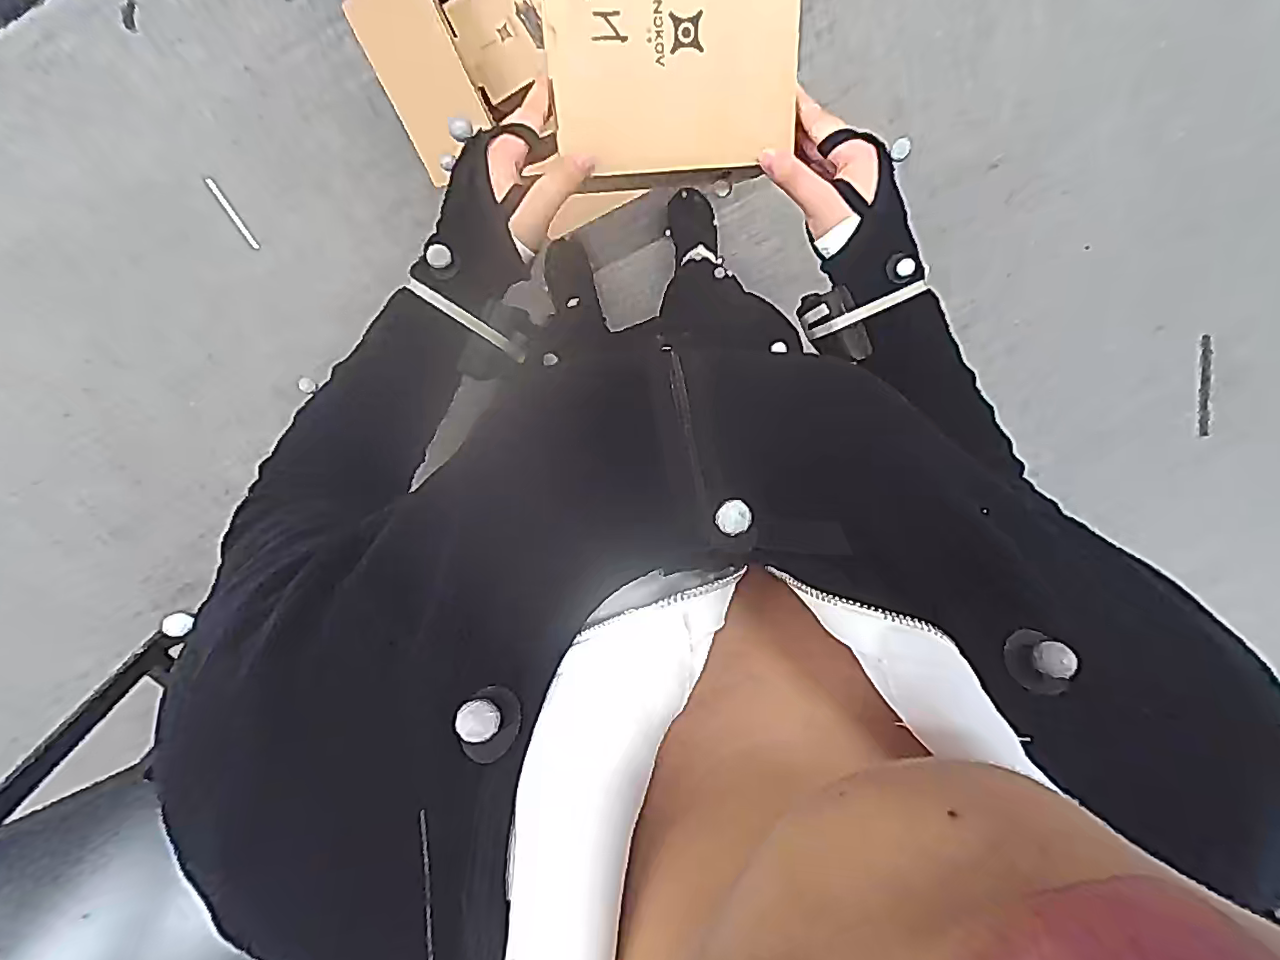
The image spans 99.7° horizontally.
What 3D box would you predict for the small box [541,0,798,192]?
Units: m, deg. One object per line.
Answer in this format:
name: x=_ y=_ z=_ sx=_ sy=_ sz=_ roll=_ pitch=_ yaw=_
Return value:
small box: x=0.015 y=-0.336 z=0.439 sx=0.179 sy=0.176 sz=0.168 roll=-5 pitch=114 yaw=-2
